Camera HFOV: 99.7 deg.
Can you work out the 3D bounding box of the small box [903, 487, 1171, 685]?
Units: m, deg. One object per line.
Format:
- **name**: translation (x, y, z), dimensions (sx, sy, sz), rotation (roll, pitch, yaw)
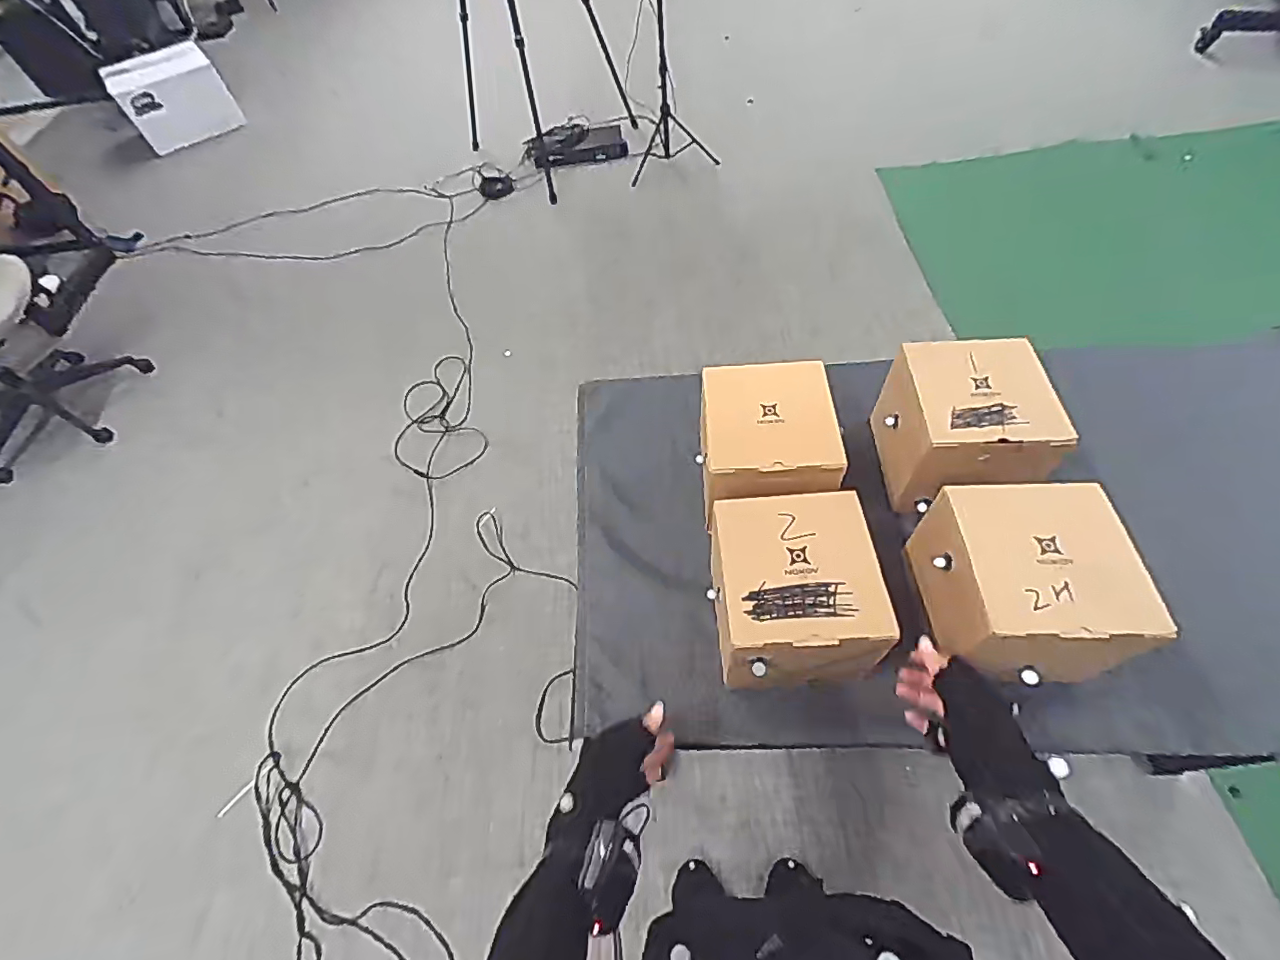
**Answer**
- **small box**: translation (0.428, 0.125, 0.627), dimensions (0.168, 0.176, 0.179), rotation (-1, 56, 5)
